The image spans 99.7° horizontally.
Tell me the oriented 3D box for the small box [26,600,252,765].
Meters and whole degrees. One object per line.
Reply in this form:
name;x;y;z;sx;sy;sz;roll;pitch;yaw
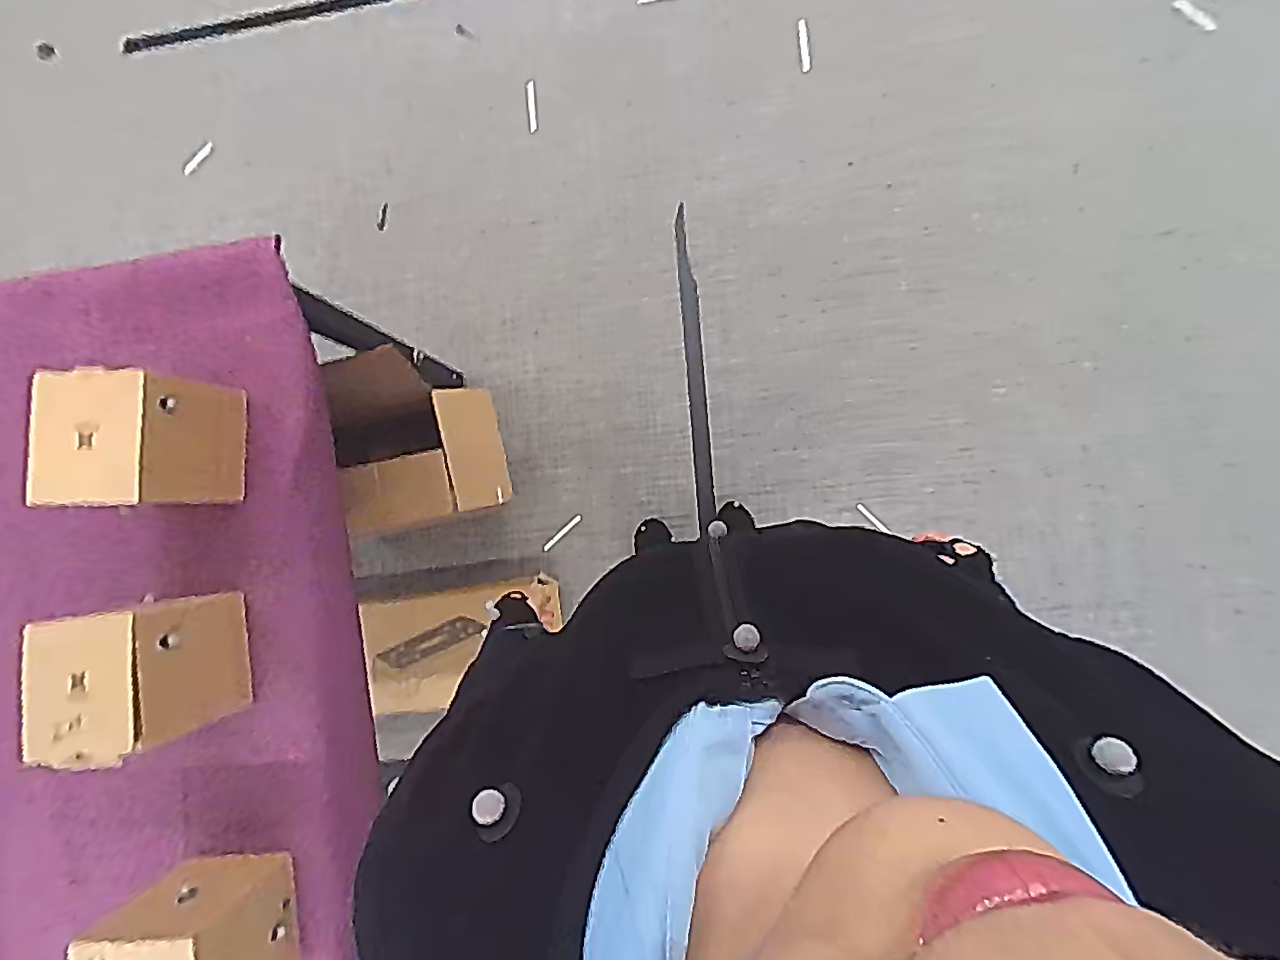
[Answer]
small box;-0.690;0.270;0.761;0.168;0.176;0.179;-8;87;8

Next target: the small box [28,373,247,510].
small box;-0.708;-0.047;0.779;0.168;0.176;0.179;-1;87;6
